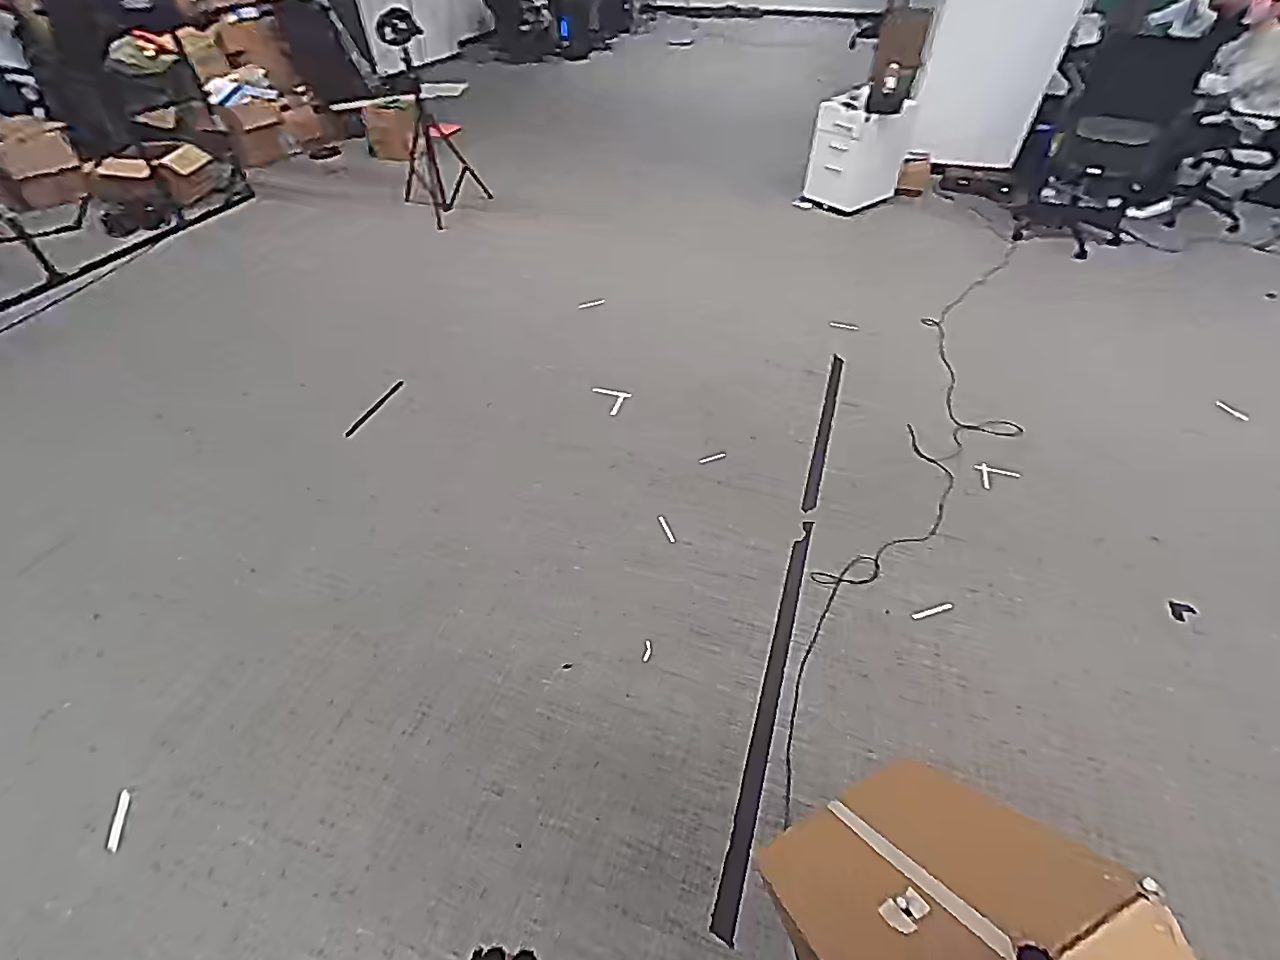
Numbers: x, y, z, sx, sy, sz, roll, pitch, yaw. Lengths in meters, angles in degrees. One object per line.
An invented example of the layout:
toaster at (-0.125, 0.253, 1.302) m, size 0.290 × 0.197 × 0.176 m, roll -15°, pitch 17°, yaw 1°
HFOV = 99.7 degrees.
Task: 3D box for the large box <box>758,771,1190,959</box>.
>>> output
large box at (0.406, 0.642, 0.670) m, size 0.320 × 0.408 × 0.320 m, roll -24°, pitch 83°, yaw -11°
